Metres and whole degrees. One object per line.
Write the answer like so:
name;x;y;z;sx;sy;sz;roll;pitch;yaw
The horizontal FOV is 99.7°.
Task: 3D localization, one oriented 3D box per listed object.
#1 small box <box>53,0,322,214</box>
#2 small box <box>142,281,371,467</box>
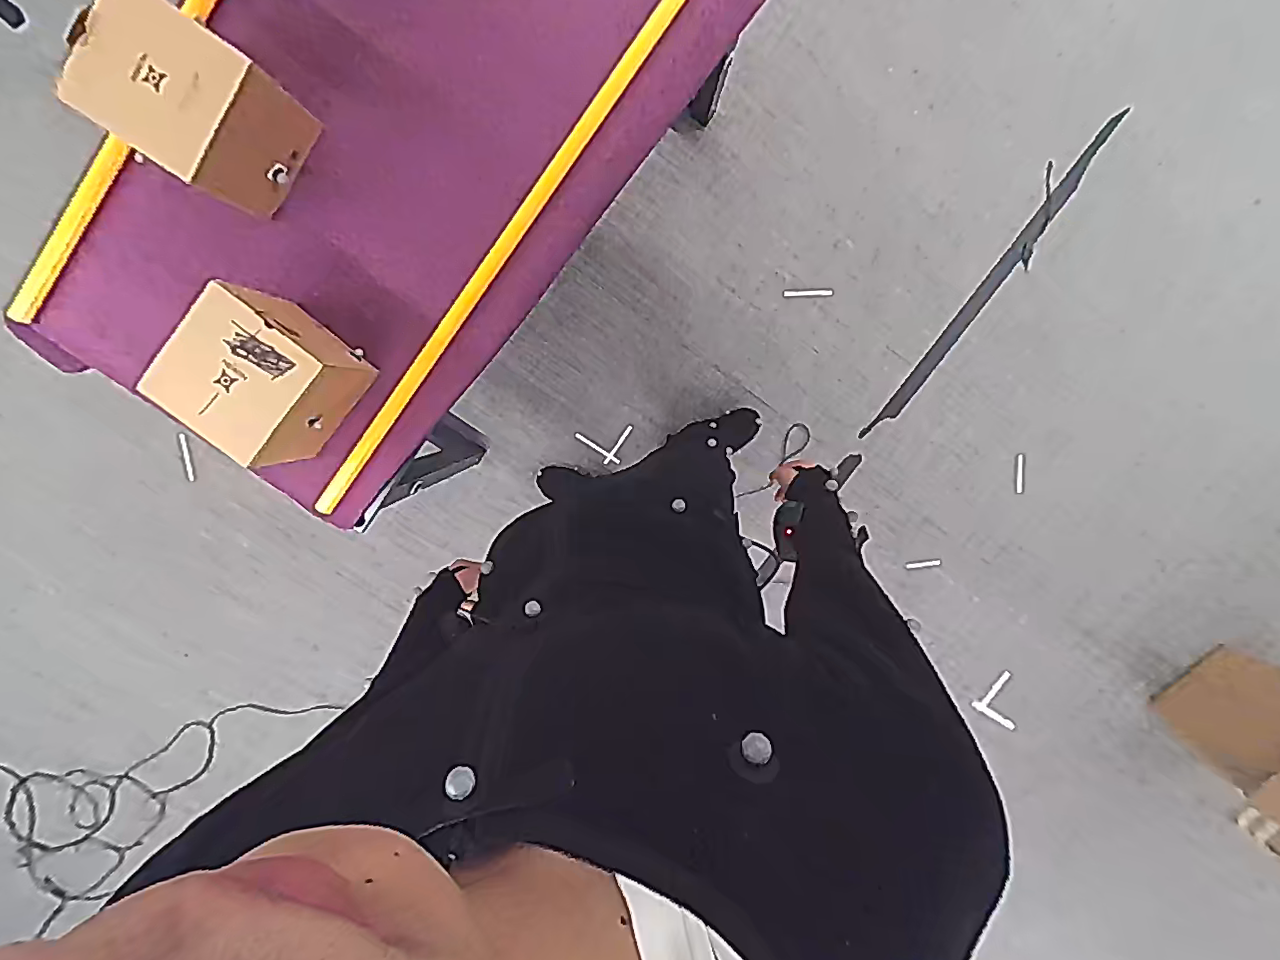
small box;-0.570;-0.484;0.707;0.179;0.176;0.168;33;97;-7
small box;-0.514;-0.143;0.760;0.168;0.176;0.179;39;95;-7
